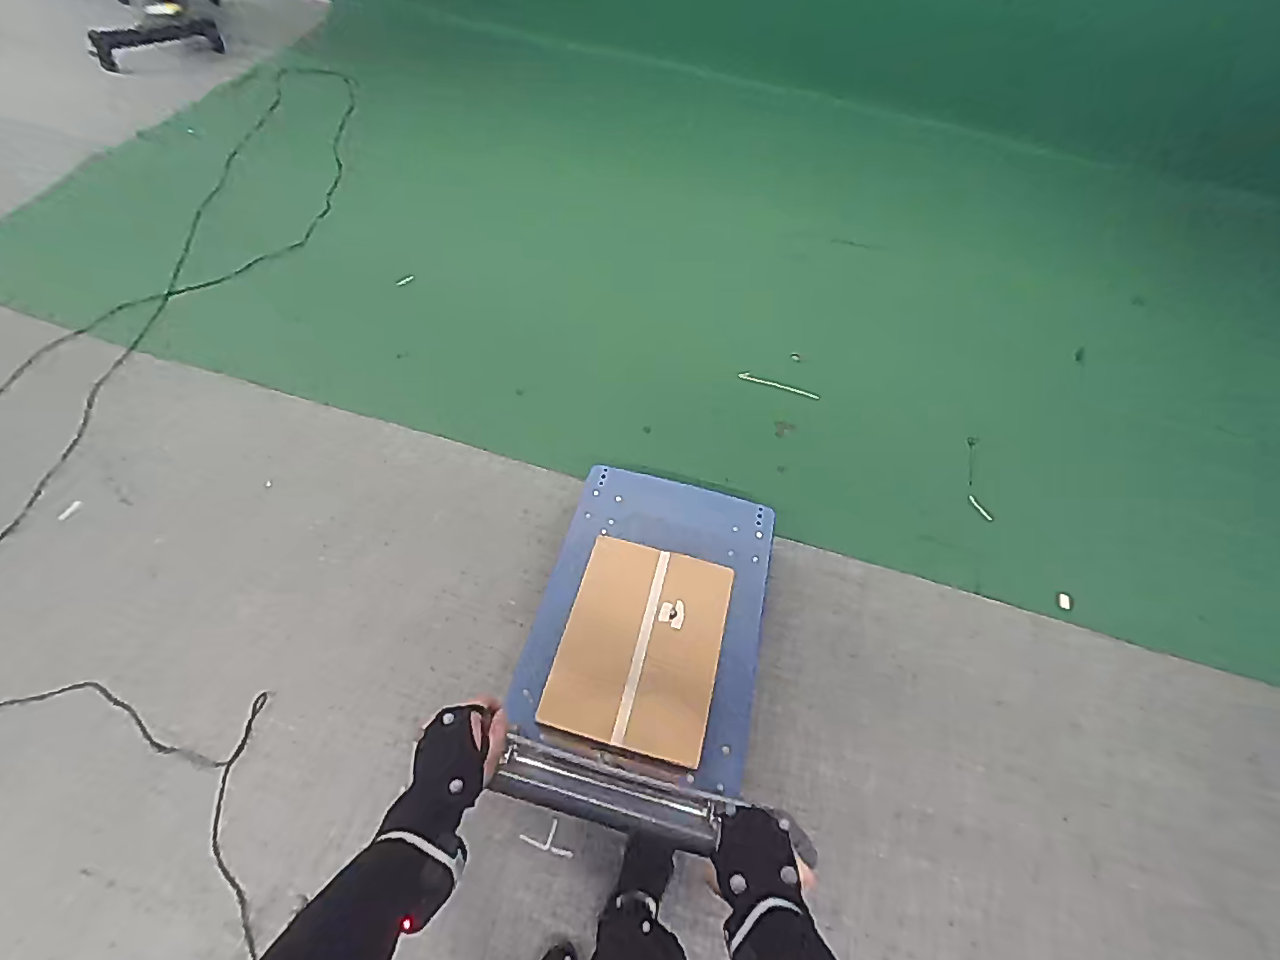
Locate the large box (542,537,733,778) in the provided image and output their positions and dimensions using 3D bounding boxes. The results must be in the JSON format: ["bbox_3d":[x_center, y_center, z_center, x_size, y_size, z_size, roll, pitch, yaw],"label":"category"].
[{"bbox_3d":[0.002,0.401,1.211,0.320,0.320,0.408,14,57,5],"label":"large box"}]
